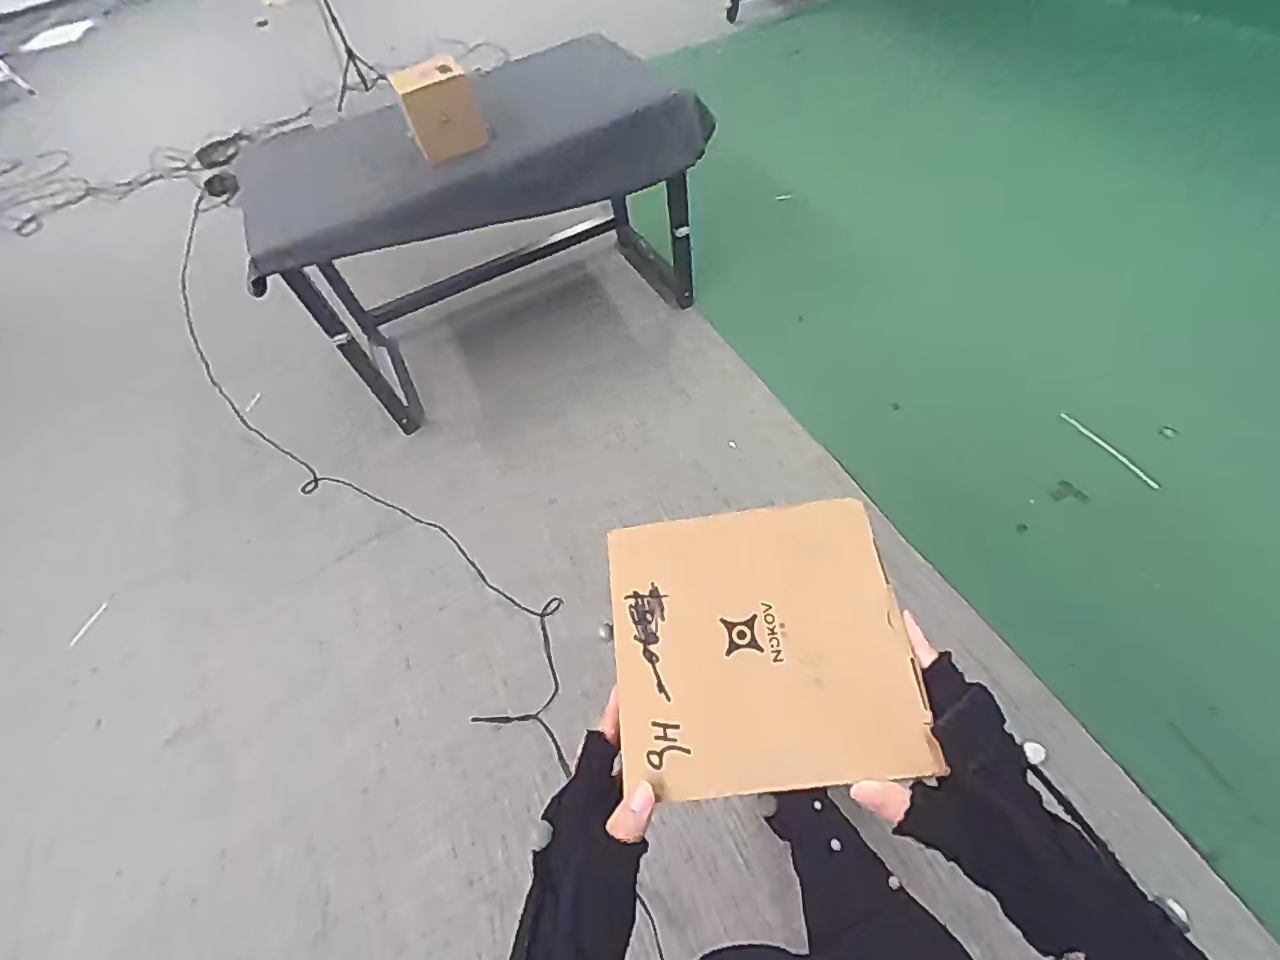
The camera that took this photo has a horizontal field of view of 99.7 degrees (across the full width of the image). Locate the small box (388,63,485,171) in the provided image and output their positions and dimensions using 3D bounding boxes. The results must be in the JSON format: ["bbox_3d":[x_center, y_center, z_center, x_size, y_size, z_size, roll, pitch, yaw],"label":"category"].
[{"bbox_3d":[-0.527,-0.954,1.426,0.179,0.176,0.168,-28,57,-12],"label":"small box"}]

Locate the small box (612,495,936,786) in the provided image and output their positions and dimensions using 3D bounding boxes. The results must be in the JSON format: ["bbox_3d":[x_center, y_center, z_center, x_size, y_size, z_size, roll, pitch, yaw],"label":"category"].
[{"bbox_3d":[0.079,0.129,0.408,0.179,0.176,0.168,-7,60,2],"label":"small box"}]
